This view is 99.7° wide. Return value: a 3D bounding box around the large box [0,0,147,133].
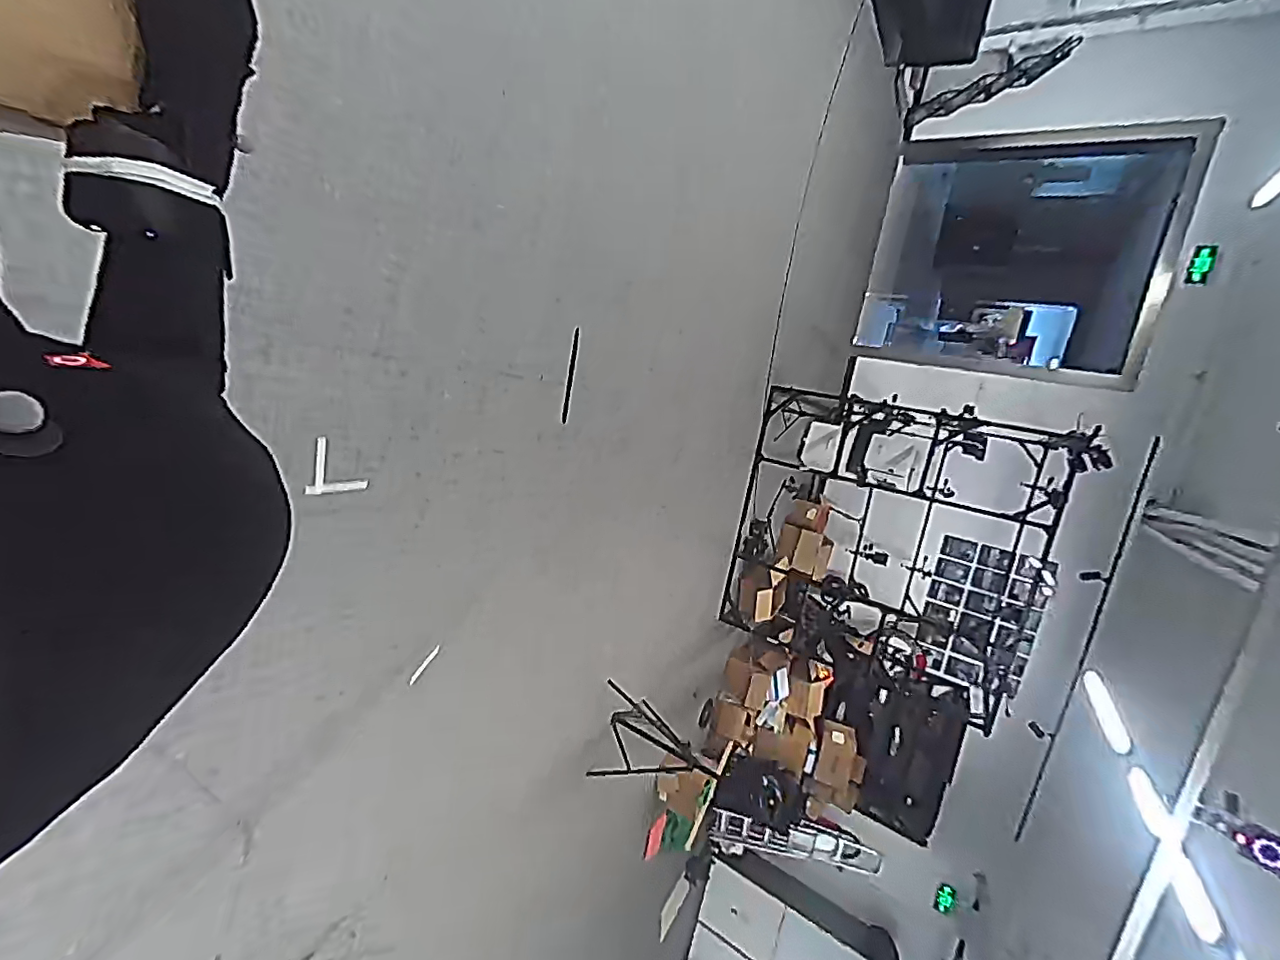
[{"bbox_3d":[-0.544,-0.426,0.249,0.408,0.320,0.320,-7,117,-62],"label":"large box"}]
